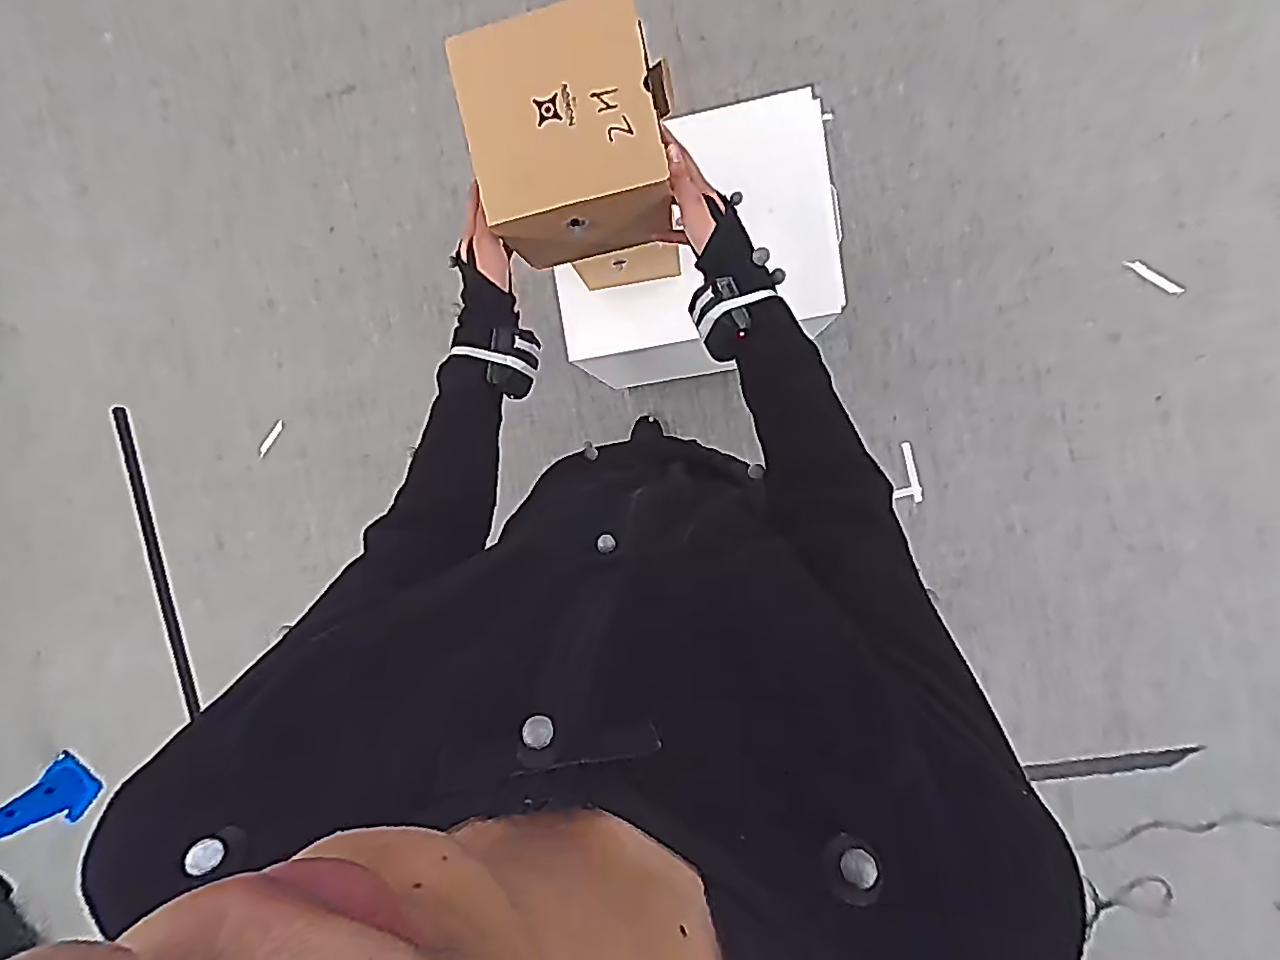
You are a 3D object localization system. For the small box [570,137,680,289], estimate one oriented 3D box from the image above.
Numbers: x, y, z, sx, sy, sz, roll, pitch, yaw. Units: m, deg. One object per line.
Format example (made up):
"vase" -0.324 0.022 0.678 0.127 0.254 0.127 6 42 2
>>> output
"small box" -0.029 -0.439 0.918 0.179 0.176 0.168 -7 93 6

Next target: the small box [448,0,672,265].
"small box" -0.067 -0.340 0.562 0.179 0.176 0.168 -11 97 6
